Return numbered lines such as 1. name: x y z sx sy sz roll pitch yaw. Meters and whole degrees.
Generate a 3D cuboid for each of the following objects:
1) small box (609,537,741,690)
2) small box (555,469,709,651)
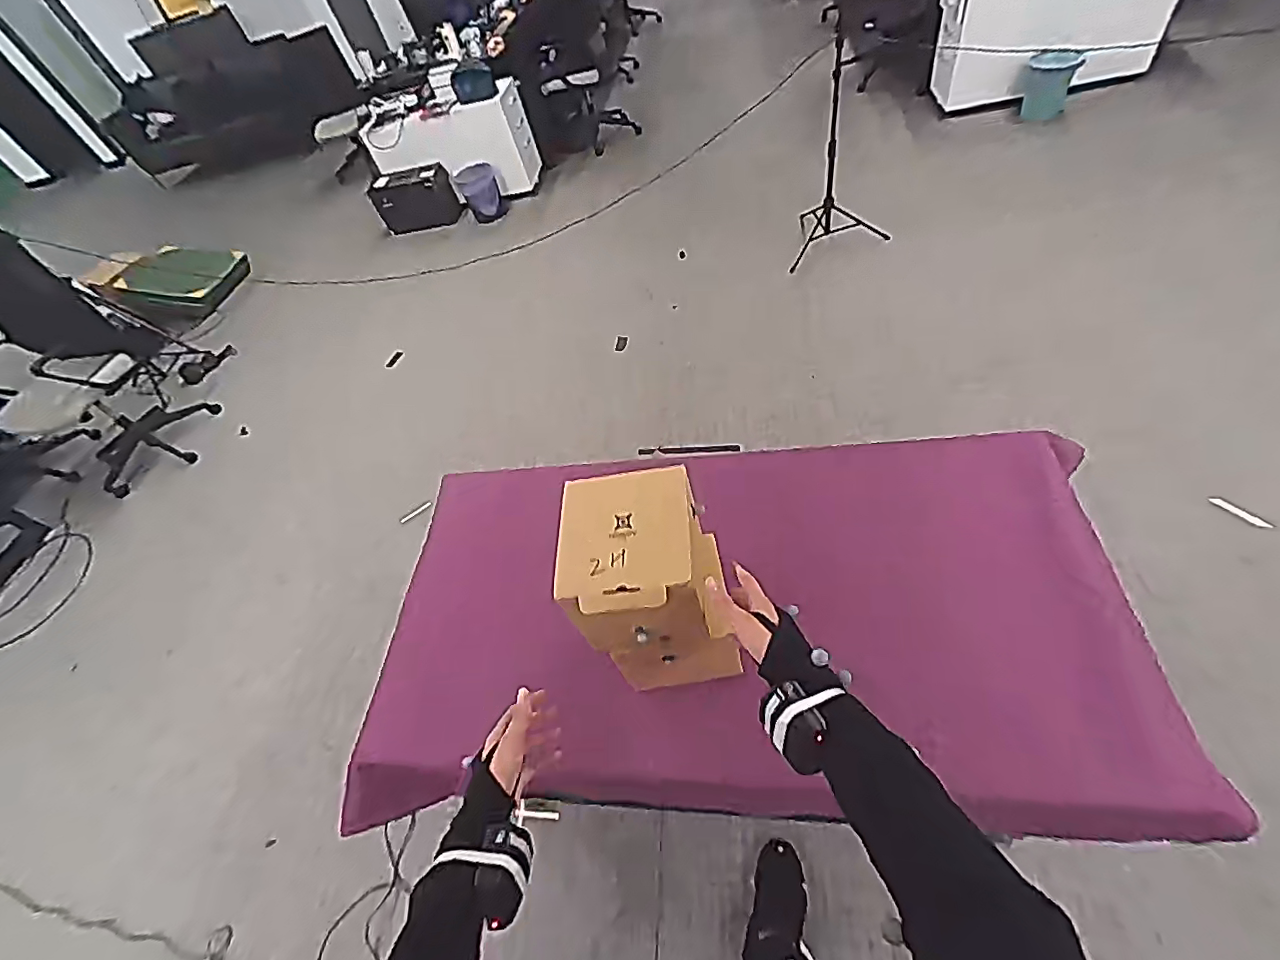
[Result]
1. small box: 0.053 0.214 0.845 0.179 0.176 0.168 -11 51 6
2. small box: -0.002 0.111 0.727 0.168 0.176 0.179 -8 51 10
